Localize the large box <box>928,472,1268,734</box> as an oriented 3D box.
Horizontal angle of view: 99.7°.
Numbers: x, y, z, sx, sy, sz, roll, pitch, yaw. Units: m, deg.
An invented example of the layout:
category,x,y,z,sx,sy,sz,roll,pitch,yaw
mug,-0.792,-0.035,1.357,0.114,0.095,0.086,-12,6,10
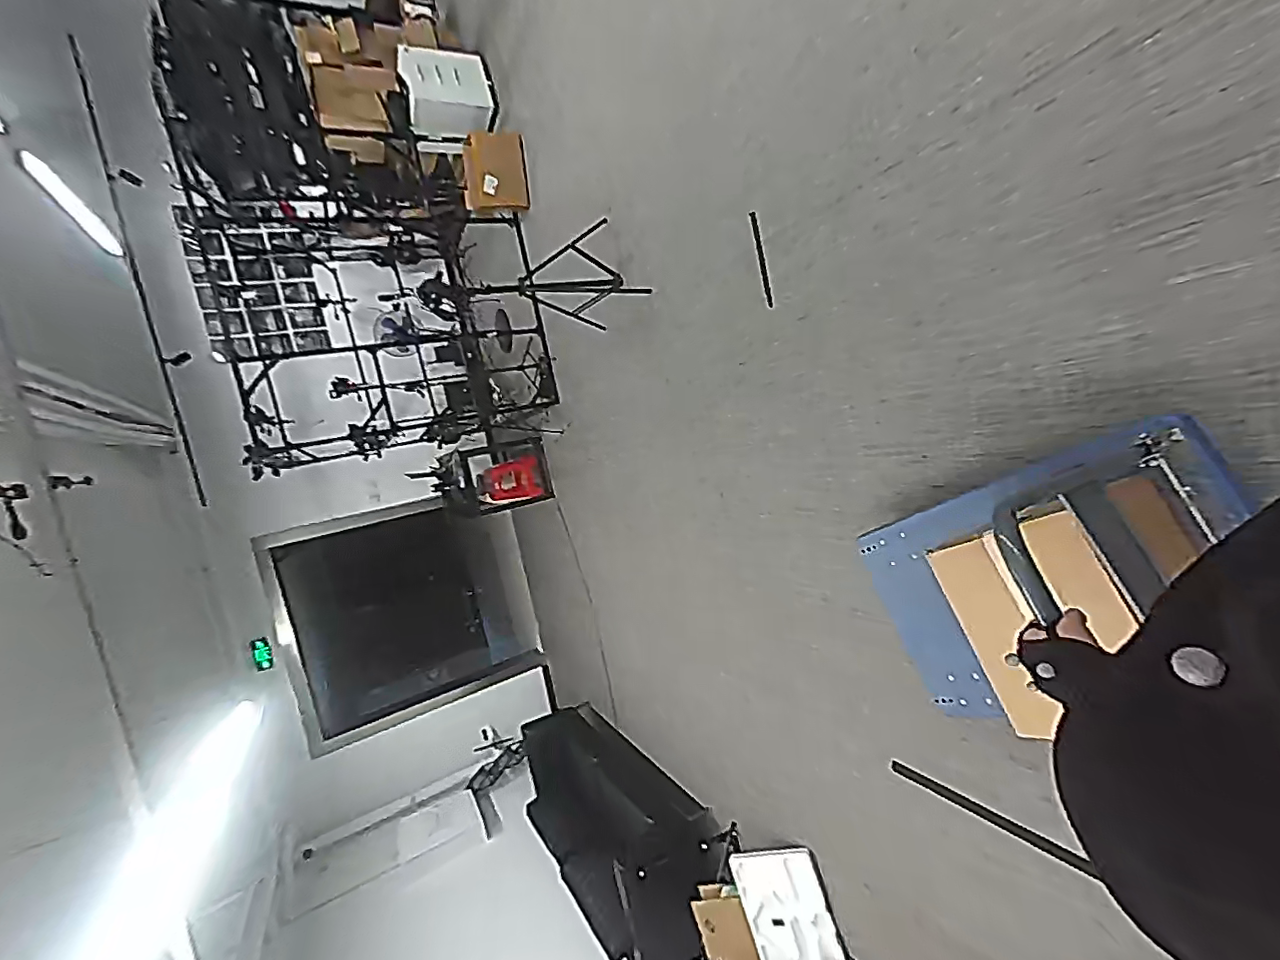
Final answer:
category,x,y,z,sx,sy,sz,roll,pitch,yaw
large box,0.893,0.246,1.090,0.320,0.320,0.408,-46,62,59
